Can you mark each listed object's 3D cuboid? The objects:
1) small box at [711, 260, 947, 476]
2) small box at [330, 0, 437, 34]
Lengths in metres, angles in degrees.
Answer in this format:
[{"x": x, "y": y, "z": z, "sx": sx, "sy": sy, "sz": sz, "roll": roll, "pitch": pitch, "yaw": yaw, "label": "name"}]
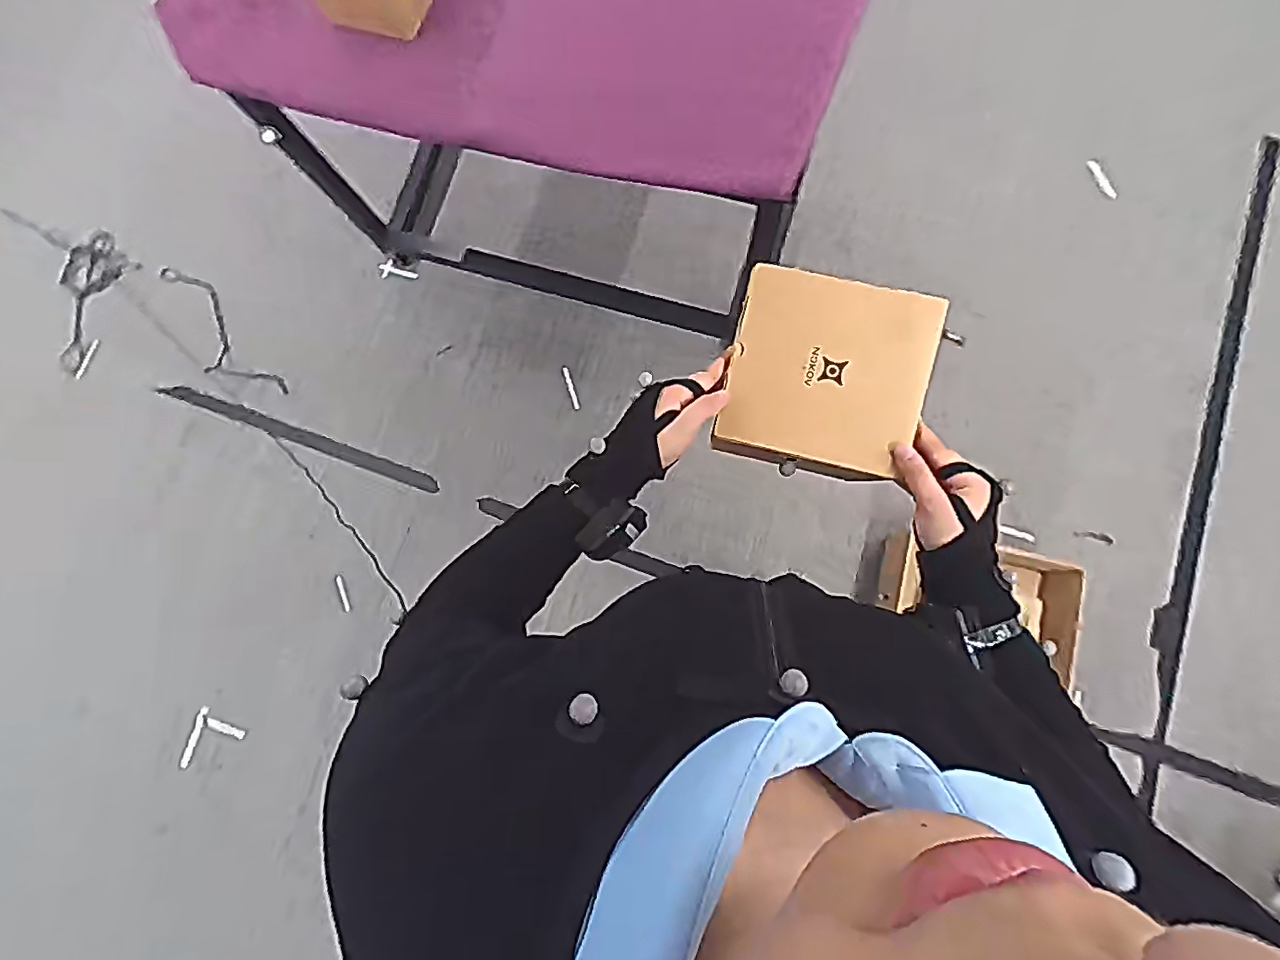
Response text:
[{"x": 0.178, "y": -0.104, "z": 0.565, "sx": 0.179, "sy": 0.176, "sz": 0.168, "roll": 14, "pitch": 92, "yaw": 8, "label": "small box"}, {"x": -0.463, "y": -0.919, "z": 0.926, "sx": 0.179, "sy": 0.176, "sz": 0.168, "roll": 18, "pitch": 83, "yaw": 7, "label": "small box"}]
